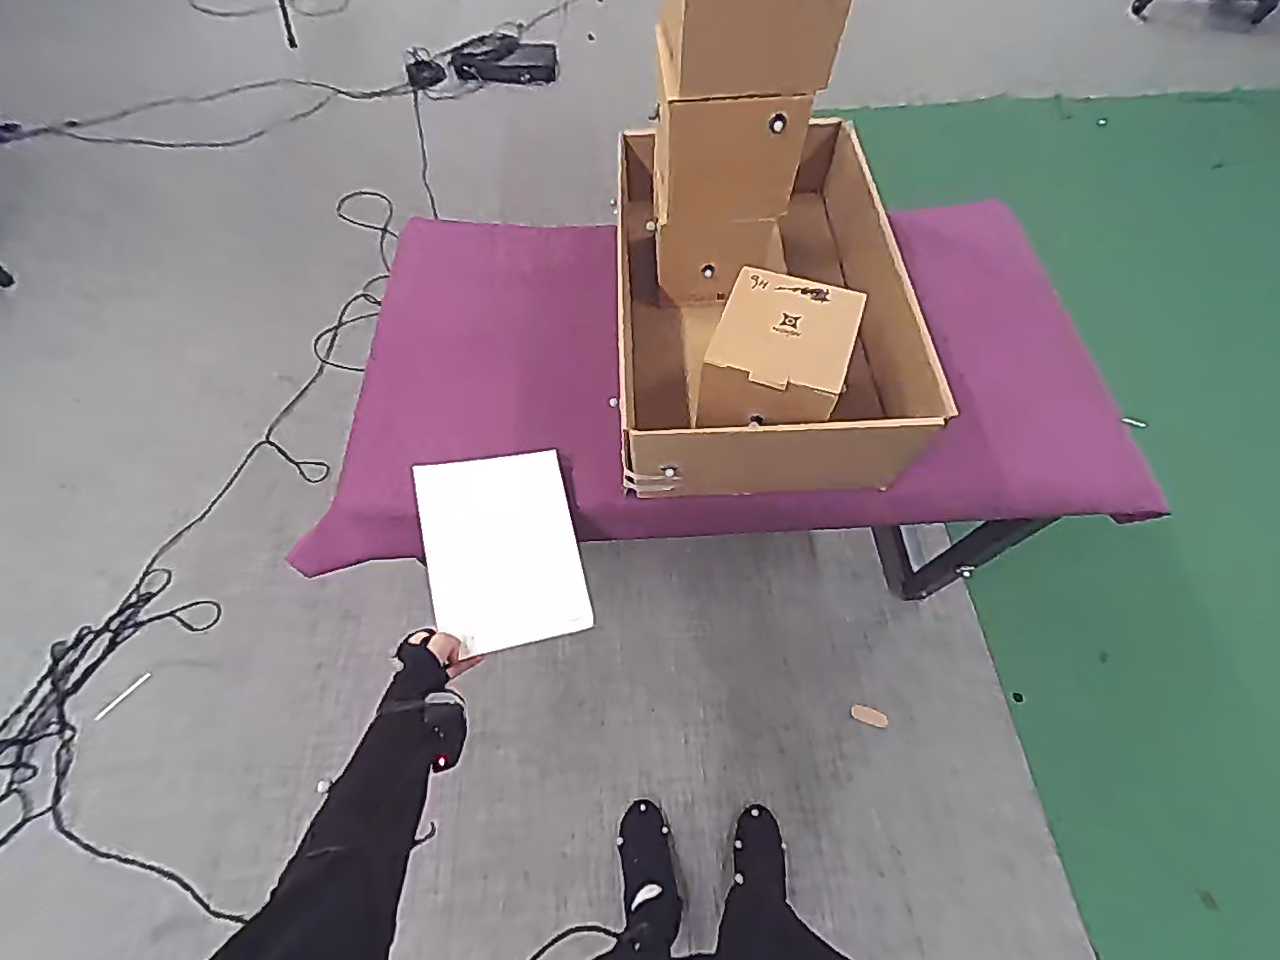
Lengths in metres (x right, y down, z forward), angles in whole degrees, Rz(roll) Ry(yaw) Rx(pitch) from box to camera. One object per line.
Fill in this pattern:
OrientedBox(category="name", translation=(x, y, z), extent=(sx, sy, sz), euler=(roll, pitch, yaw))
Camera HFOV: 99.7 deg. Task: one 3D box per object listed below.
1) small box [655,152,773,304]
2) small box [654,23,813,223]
OrientedBox(category="small box", translation=(0.110, -0.402, 0.875), extent=(0.168, 0.176, 0.179), euler=(-2, 64, 0))
OrientedBox(category="small box", translation=(0.112, -0.471, 0.729), extent=(0.179, 0.176, 0.168), euler=(-4, 64, -1))
